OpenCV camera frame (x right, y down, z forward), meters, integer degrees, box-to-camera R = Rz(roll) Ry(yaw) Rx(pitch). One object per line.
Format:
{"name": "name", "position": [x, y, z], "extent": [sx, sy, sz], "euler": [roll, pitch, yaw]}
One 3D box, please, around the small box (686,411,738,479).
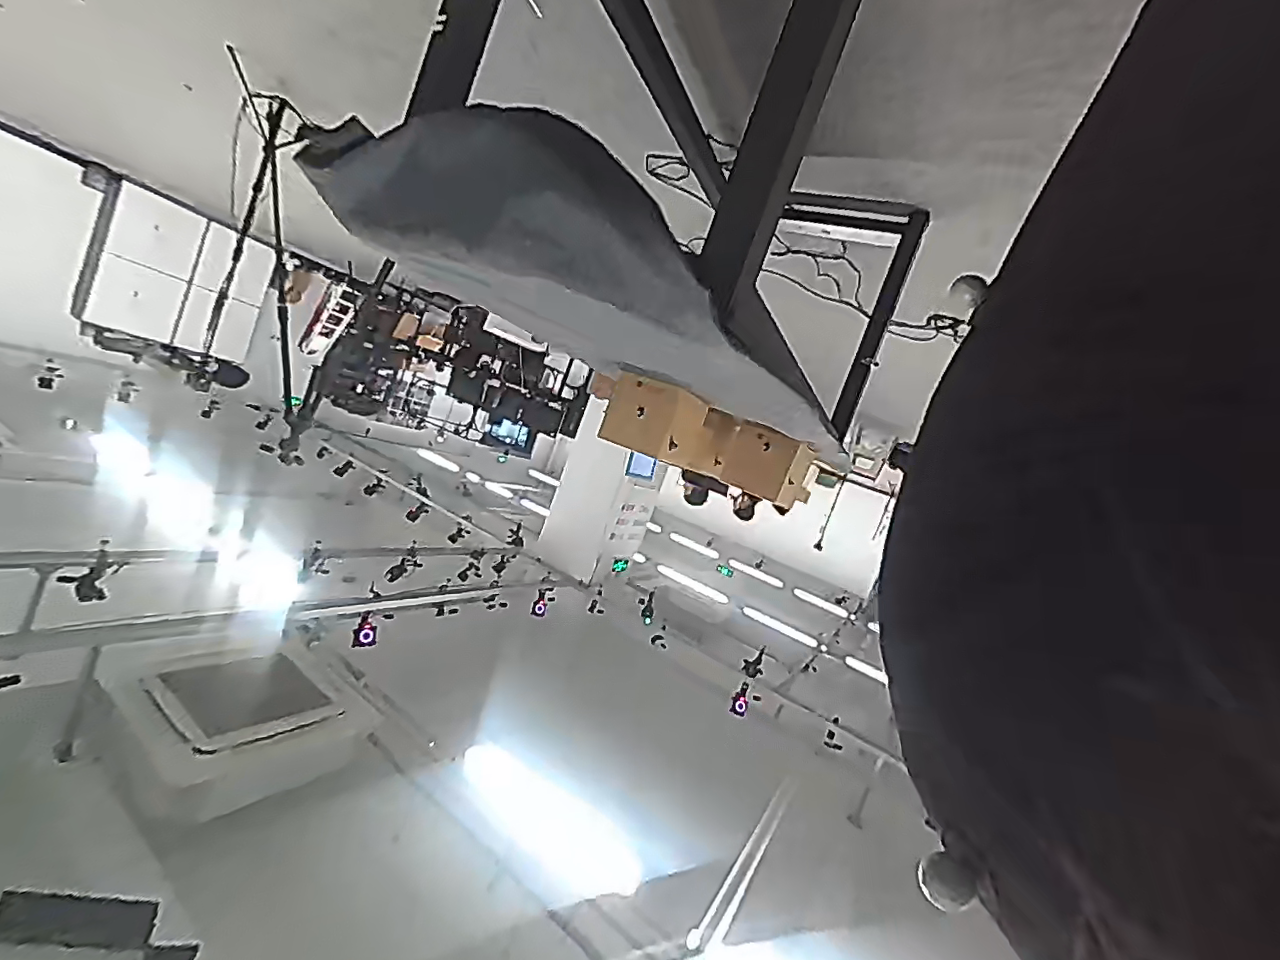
{"name": "small box", "position": [0.155, -0.114, 1.530], "extent": [0.168, 0.176, 0.179], "euler": [22, -176, 28]}

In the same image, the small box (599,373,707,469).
{"name": "small box", "position": [0.035, -0.138, 1.271], "extent": [0.168, 0.176, 0.179], "euler": [22, -176, 27]}
